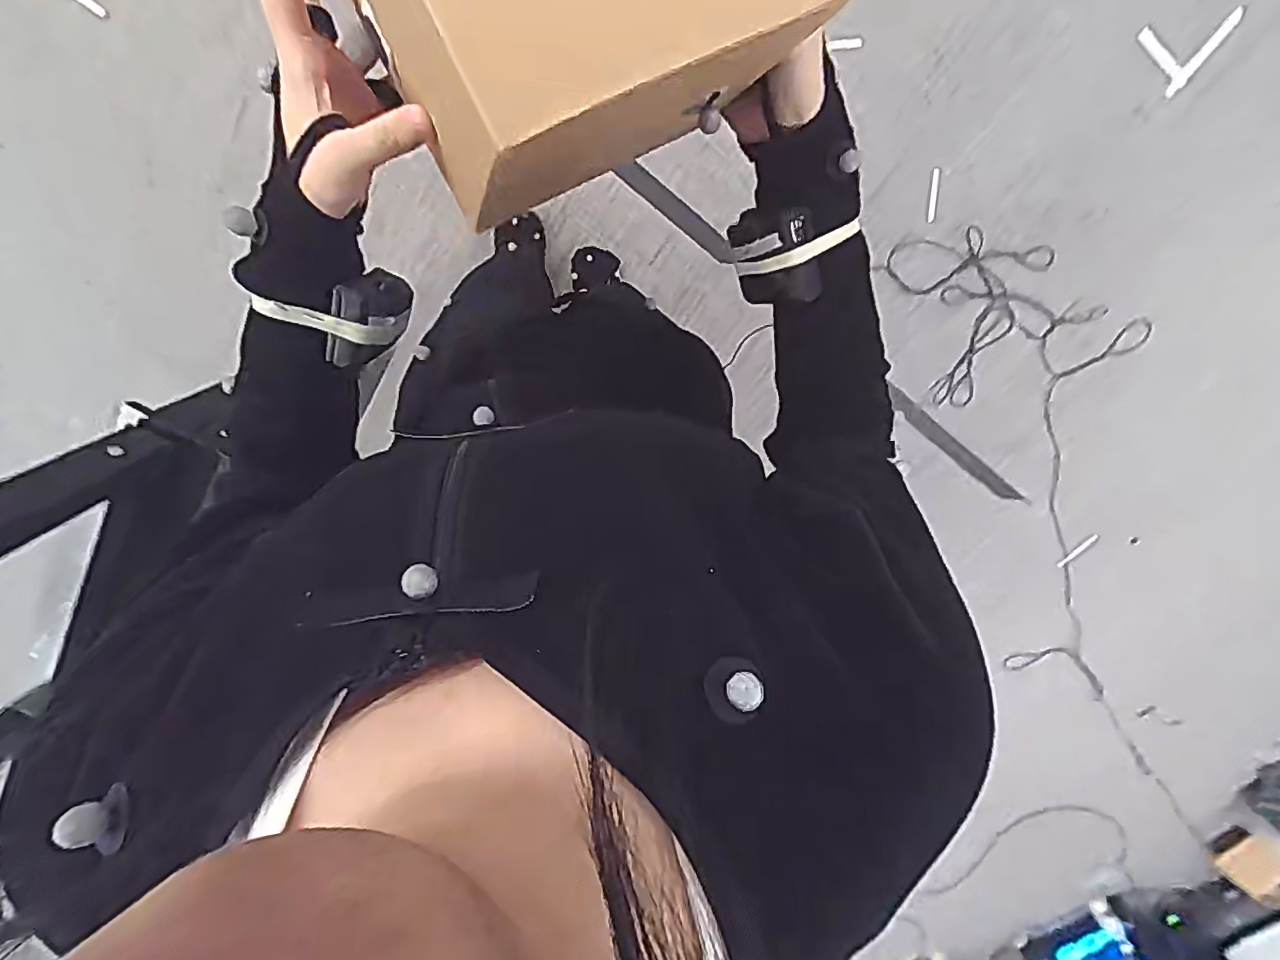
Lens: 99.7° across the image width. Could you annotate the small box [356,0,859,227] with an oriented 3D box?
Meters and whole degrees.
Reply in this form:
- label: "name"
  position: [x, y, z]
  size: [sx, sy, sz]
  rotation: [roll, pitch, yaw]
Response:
- label: "small box"
  position: [-0.035, -0.248, 0.256]
  size: [0.179, 0.176, 0.168]
  rotation: [-32, 111, -9]
